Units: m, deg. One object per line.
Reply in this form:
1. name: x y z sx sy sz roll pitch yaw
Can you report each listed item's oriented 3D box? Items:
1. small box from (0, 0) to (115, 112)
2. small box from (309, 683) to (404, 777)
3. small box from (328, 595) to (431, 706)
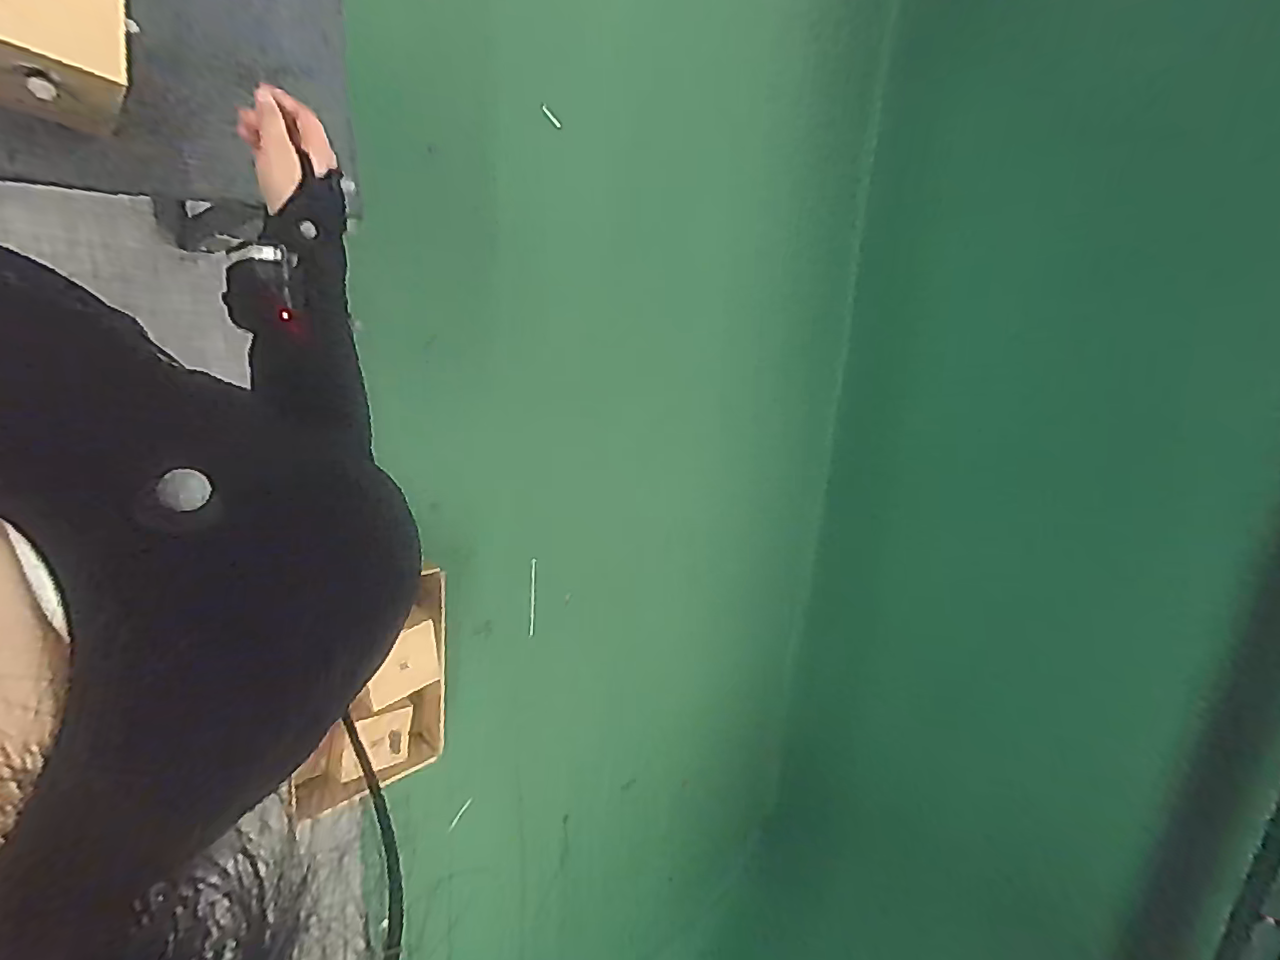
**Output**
1. small box: -0.502 -0.393 0.380 0.179 0.176 0.168 -3 103 -48
2. small box: -0.781 0.668 1.488 0.179 0.176 0.168 2 100 -48
3. small box: -0.633 0.398 1.311 0.168 0.176 0.179 -19 119 -43
